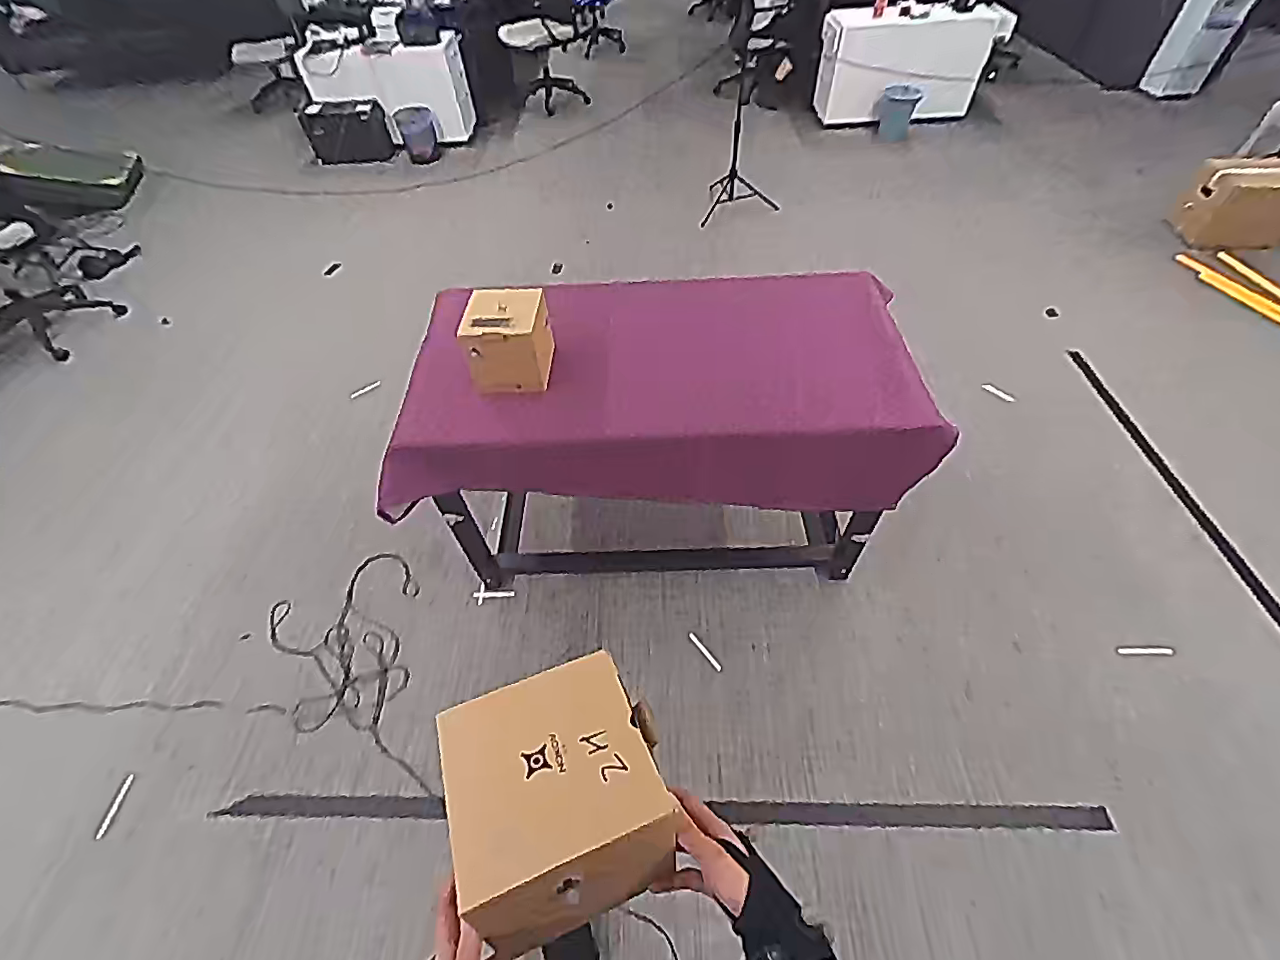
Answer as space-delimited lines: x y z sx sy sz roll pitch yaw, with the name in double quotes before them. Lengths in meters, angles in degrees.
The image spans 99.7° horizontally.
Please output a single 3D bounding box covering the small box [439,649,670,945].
"small box" -0.079 0.305 0.527 0.179 0.176 0.168 -16 41 -16
